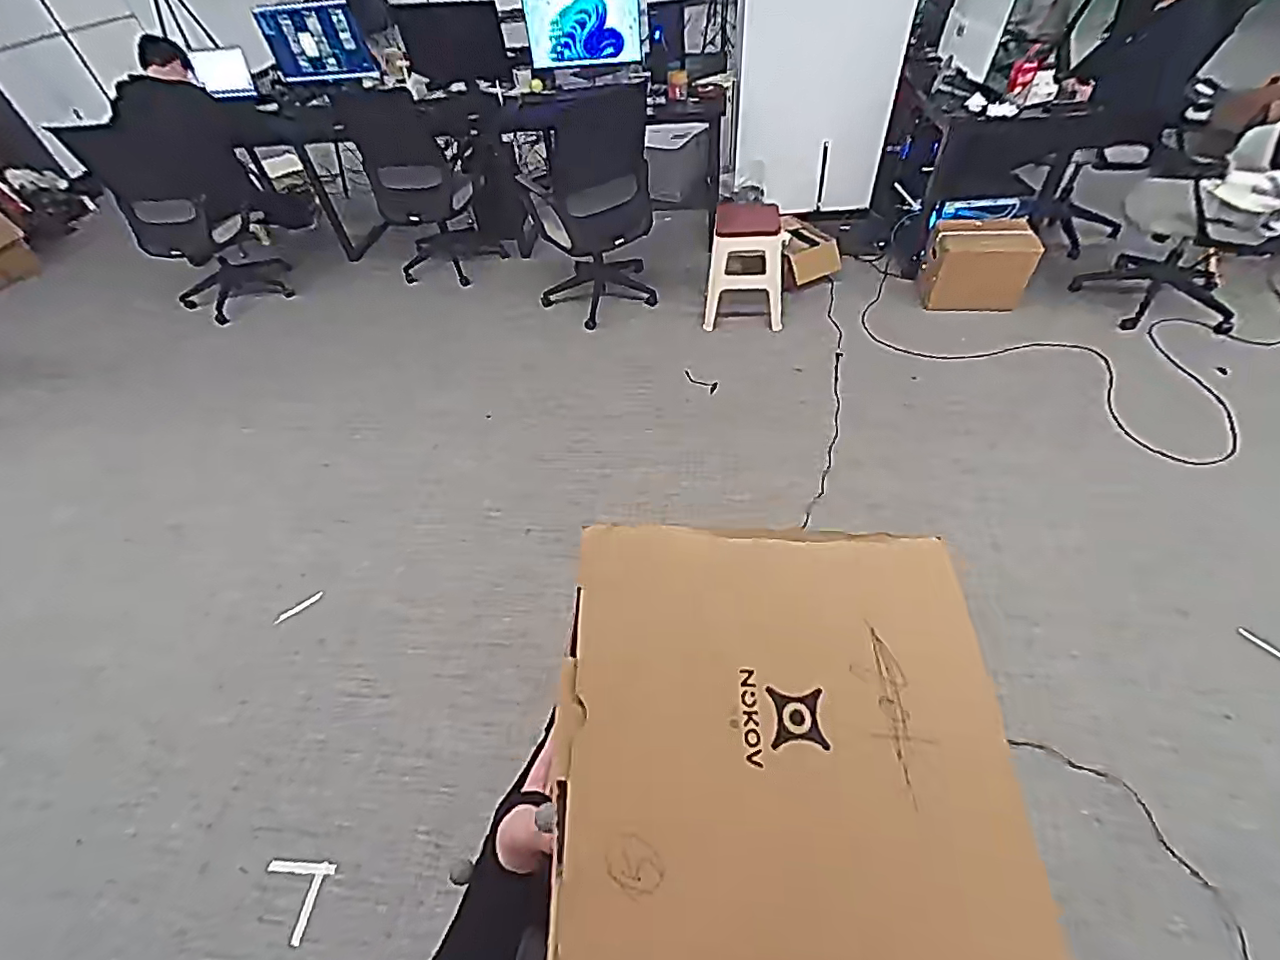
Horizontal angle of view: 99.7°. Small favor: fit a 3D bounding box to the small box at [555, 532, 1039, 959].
[{"bbox_3d":[0.053,0.139,0.297,0.179,0.176,0.168,2,60,-4],"label":"small box"}]
